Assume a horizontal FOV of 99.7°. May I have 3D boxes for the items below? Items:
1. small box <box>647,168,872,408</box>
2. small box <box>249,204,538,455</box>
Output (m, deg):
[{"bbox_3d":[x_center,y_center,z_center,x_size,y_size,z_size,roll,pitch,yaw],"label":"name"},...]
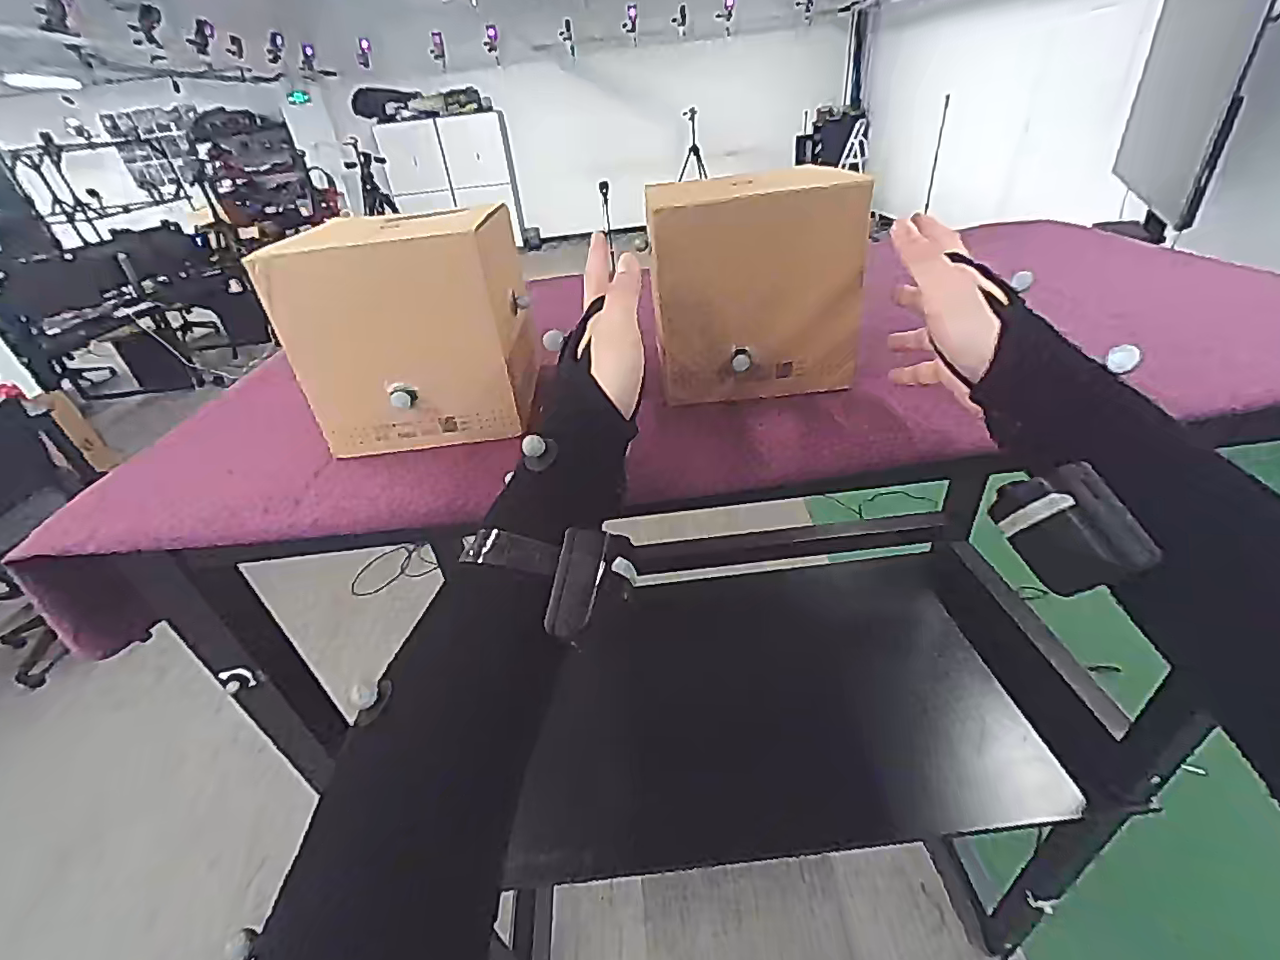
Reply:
[{"bbox_3d":[0.095,-0.183,0.507,0.168,0.176,0.179,-6,34,3],"label":"small box"},{"bbox_3d":[-0.193,-0.141,0.492,0.168,0.176,0.179,-7,34,0],"label":"small box"}]
